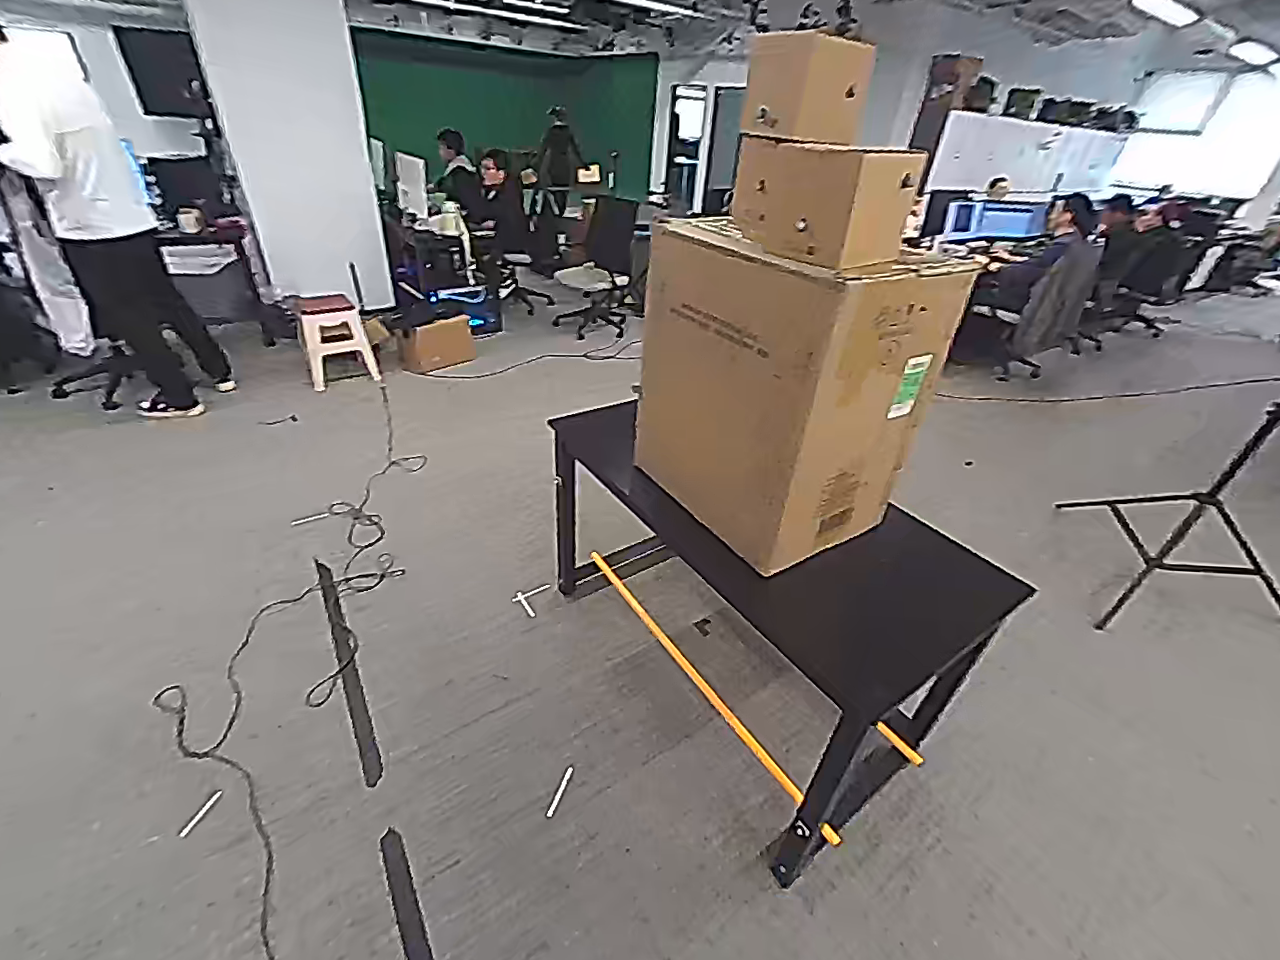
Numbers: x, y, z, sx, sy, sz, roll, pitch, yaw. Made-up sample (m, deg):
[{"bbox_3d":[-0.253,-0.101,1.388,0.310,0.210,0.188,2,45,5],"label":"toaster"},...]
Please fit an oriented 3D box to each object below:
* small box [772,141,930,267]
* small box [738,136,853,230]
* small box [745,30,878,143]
[{"bbox_3d":[0.345,-0.469,0.917,0.179,0.176,0.168,-21,40,-31],"label":"small box"},{"bbox_3d":[0.332,-0.649,1.186,0.179,0.176,0.168,-18,41,-30],"label":"small box"},{"bbox_3d":[0.333,-0.779,1.085,0.179,0.176,0.168,-16,39,-28],"label":"small box"}]
